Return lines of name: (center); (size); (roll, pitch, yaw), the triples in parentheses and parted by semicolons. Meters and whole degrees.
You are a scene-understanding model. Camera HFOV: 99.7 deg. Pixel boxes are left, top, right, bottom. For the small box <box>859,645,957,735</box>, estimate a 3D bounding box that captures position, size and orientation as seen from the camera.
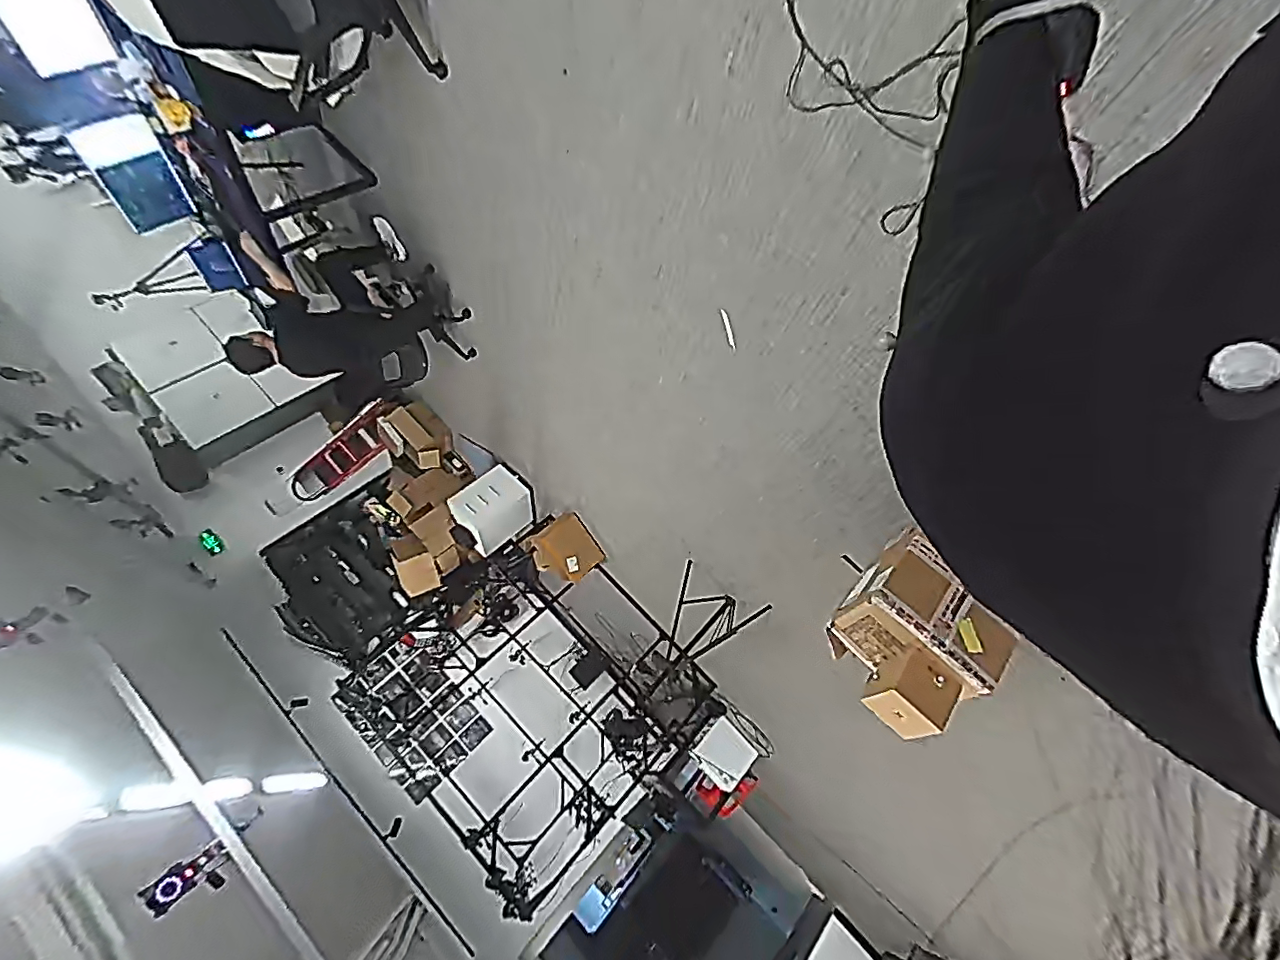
small box: (0.797, 0.621, 1.602); (0.168, 0.176, 0.179); (41, 147, 13)
